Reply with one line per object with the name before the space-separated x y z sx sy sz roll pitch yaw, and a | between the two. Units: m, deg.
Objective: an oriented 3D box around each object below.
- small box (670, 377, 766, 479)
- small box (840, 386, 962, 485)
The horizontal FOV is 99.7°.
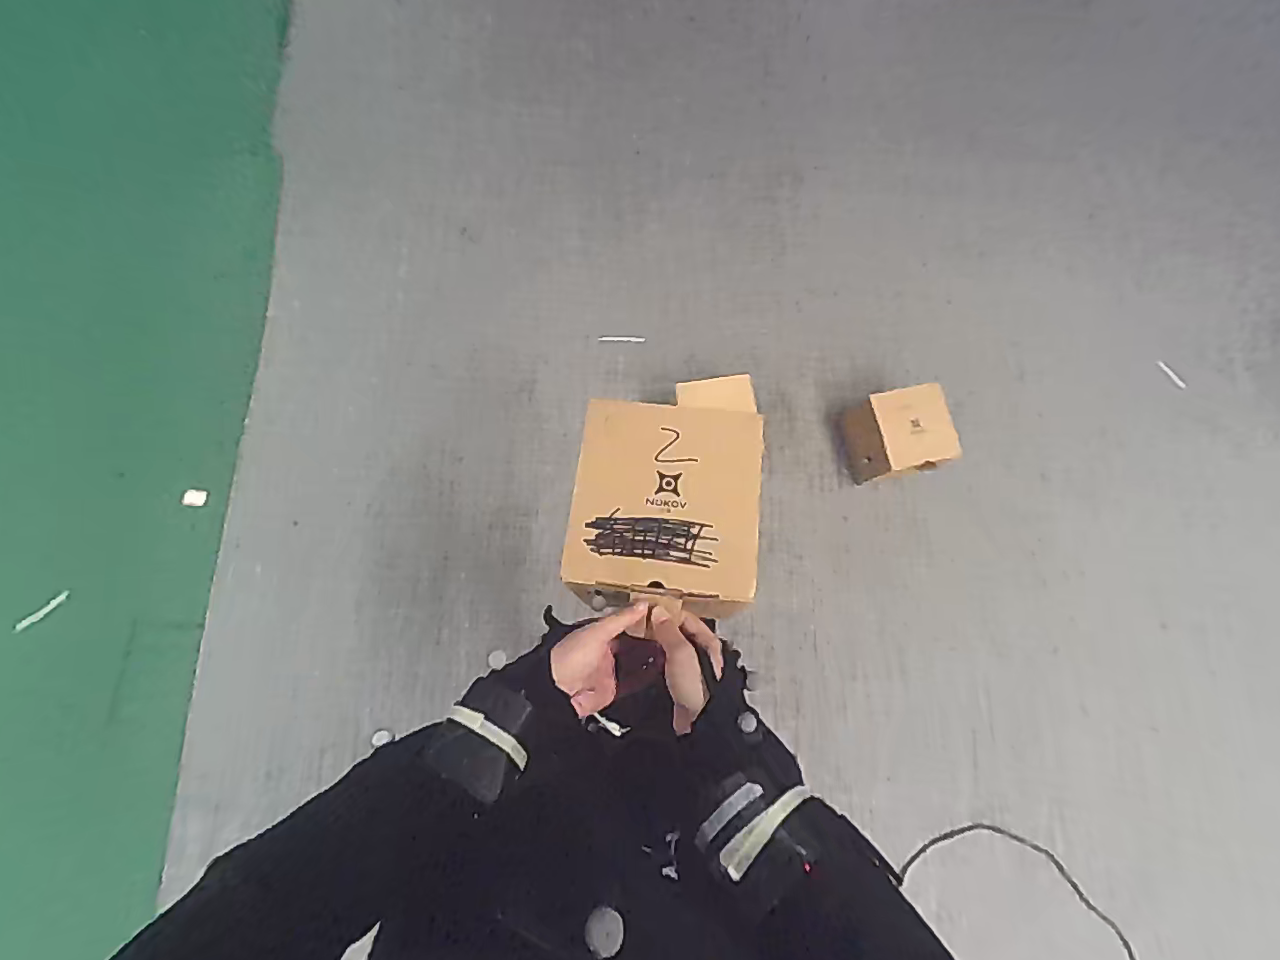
small box | 0.167 -0.112 1.218 0.168 0.176 0.179 -8 80 -5
small box | 0.586 -0.093 1.236 0.168 0.176 0.179 -11 78 -6
